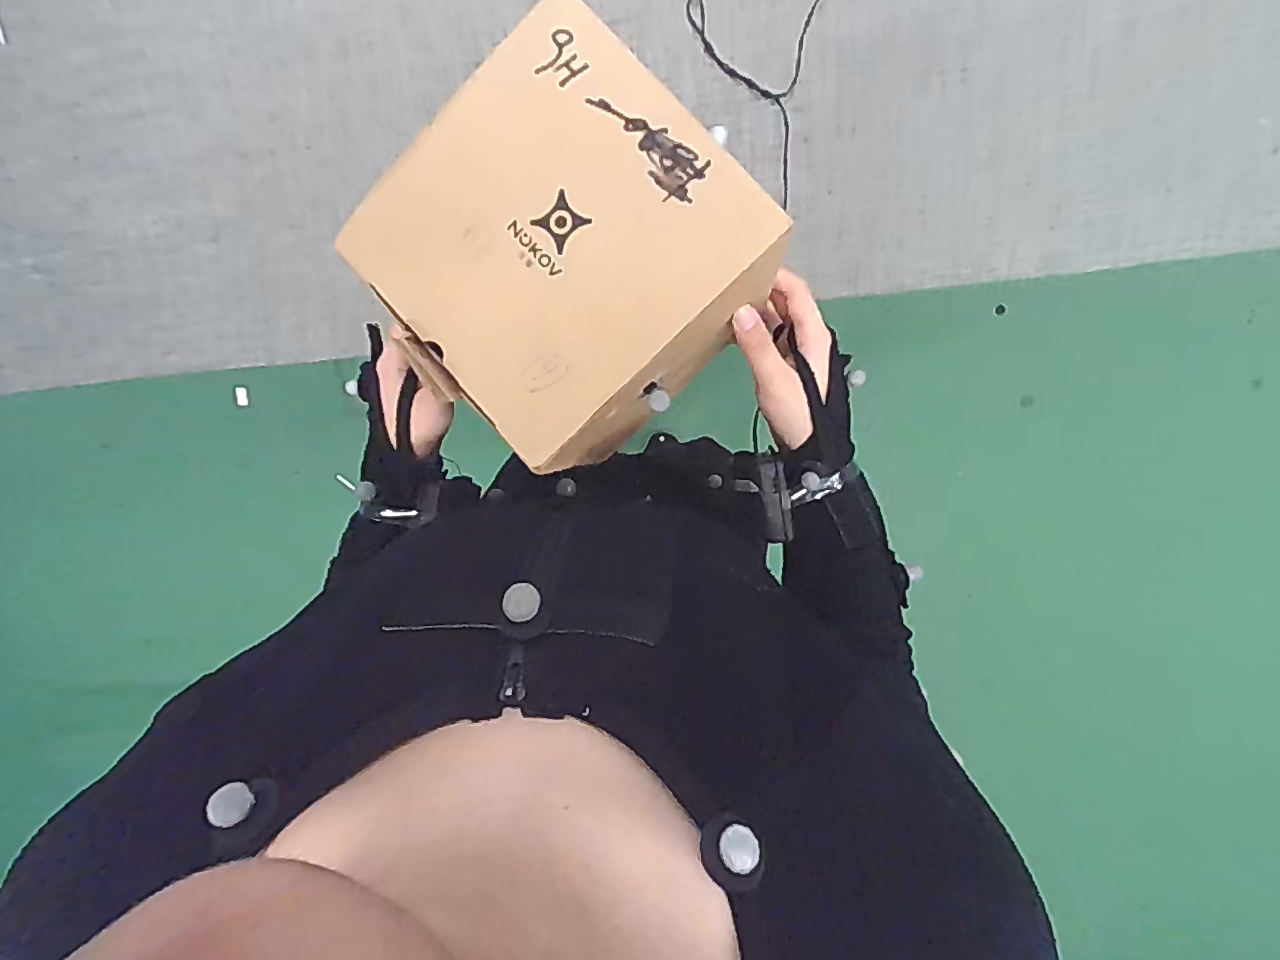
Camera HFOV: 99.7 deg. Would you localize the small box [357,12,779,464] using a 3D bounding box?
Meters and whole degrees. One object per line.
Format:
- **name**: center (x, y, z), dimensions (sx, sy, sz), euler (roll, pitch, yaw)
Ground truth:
- **small box**: center (-0.032, -0.127, 0.362), dimensions (0.179, 0.176, 0.168), euler (-43, 87, 8)
